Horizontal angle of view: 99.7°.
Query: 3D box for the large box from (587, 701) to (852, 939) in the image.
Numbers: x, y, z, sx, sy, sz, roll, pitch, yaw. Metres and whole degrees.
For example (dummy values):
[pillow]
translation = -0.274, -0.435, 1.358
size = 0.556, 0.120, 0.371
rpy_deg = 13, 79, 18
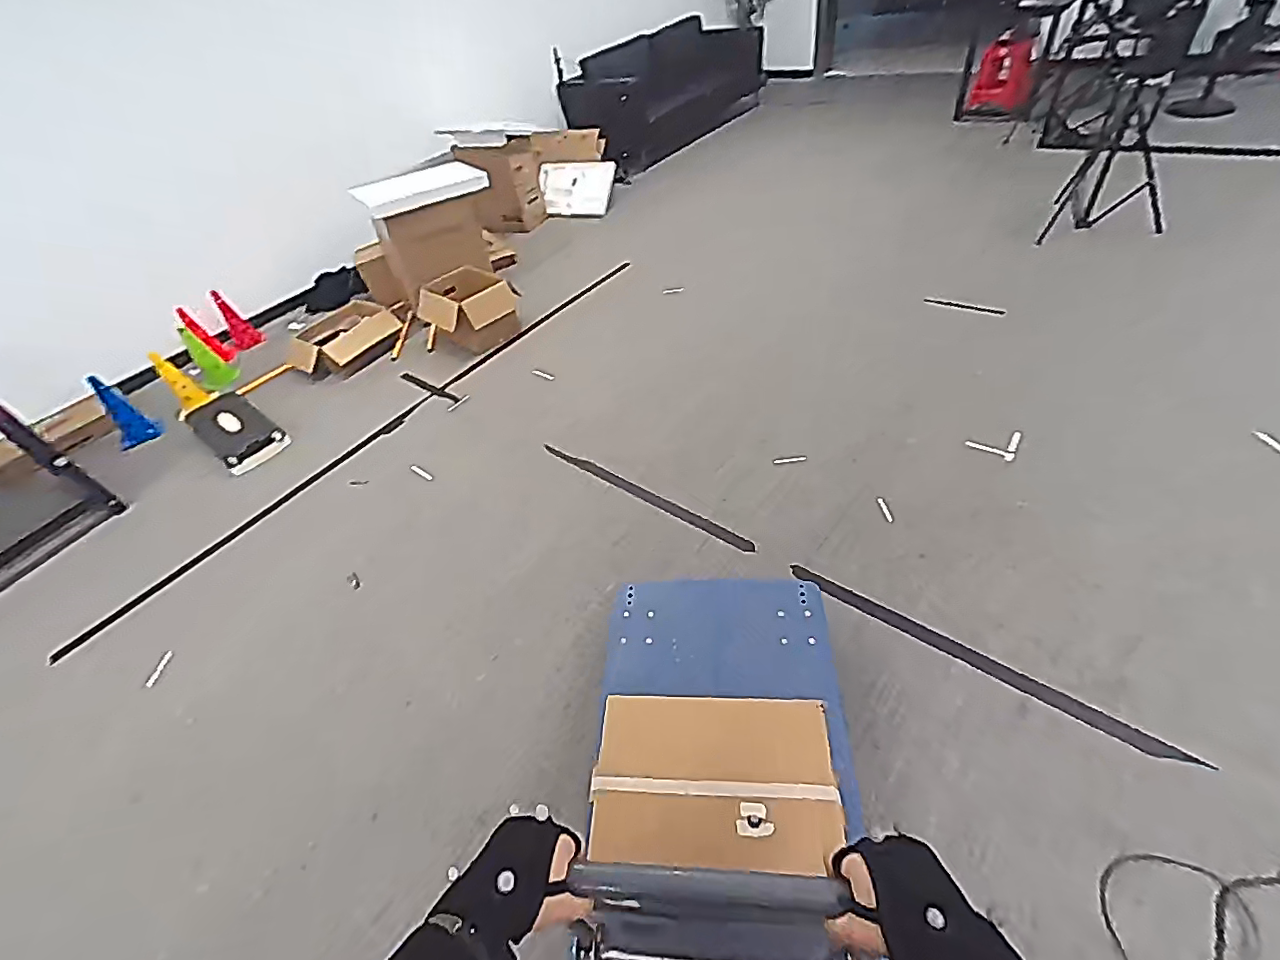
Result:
[large box]
translation = 0.138, 0.632, 1.012
size = 0.408, 0.320, 0.320
rpy_deg = -2, 45, 8
